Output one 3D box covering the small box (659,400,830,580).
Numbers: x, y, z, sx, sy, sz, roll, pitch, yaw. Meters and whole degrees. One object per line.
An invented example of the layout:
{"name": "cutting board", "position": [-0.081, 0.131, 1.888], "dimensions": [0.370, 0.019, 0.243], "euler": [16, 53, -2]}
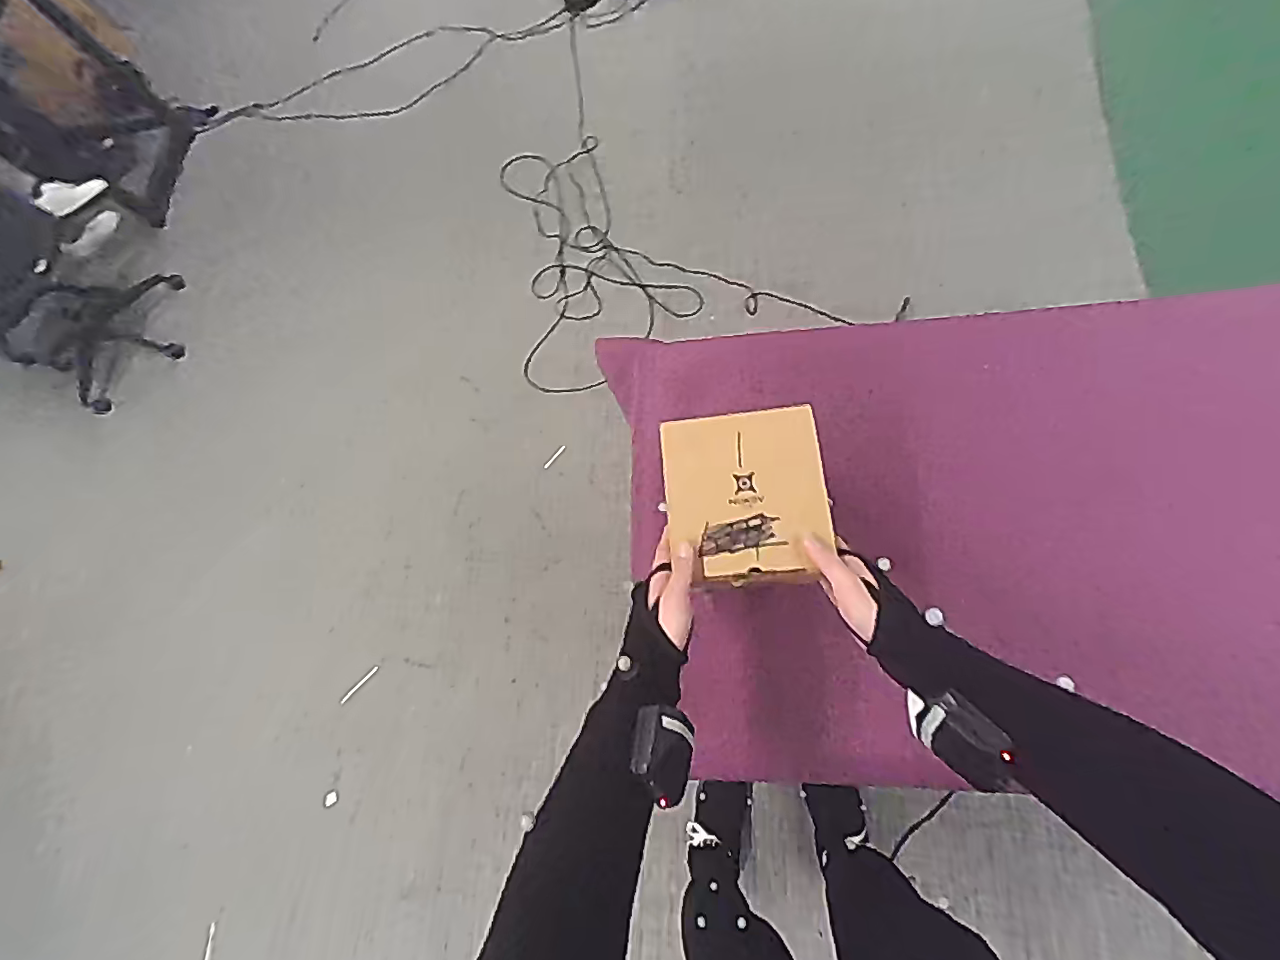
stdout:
{"name": "small box", "position": [0.118, 0.024, 0.643], "dimensions": [0.168, 0.176, 0.179], "euler": [-5, 74, 7]}
